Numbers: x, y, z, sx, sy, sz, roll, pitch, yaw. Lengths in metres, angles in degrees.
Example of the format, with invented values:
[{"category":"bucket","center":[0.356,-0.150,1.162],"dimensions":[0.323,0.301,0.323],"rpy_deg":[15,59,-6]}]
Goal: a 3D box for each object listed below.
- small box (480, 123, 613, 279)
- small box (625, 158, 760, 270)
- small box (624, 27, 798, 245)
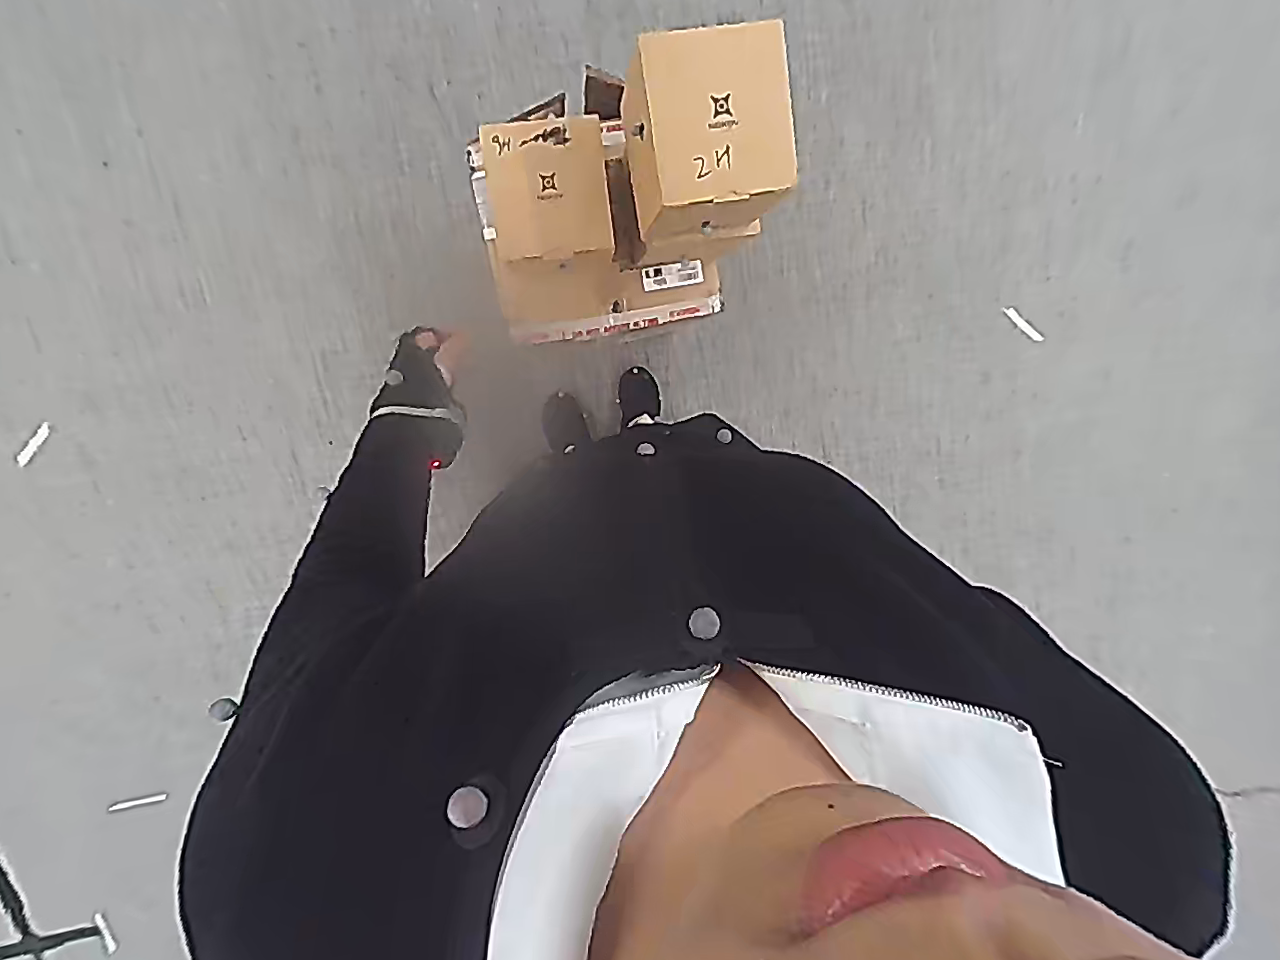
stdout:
[{"category":"small box","center":[-0.132,-0.411,0.828],"dimensions":[0.168,0.176,0.179],"rpy_deg":[-8,104,-3]},{"category":"small box","center":[0.075,-0.442,0.847],"dimensions":[0.168,0.176,0.179],"rpy_deg":[-9,104,-6]},{"category":"small box","center":[0.080,-0.418,0.683],"dimensions":[0.168,0.176,0.179],"rpy_deg":[-11,103,-6]}]
